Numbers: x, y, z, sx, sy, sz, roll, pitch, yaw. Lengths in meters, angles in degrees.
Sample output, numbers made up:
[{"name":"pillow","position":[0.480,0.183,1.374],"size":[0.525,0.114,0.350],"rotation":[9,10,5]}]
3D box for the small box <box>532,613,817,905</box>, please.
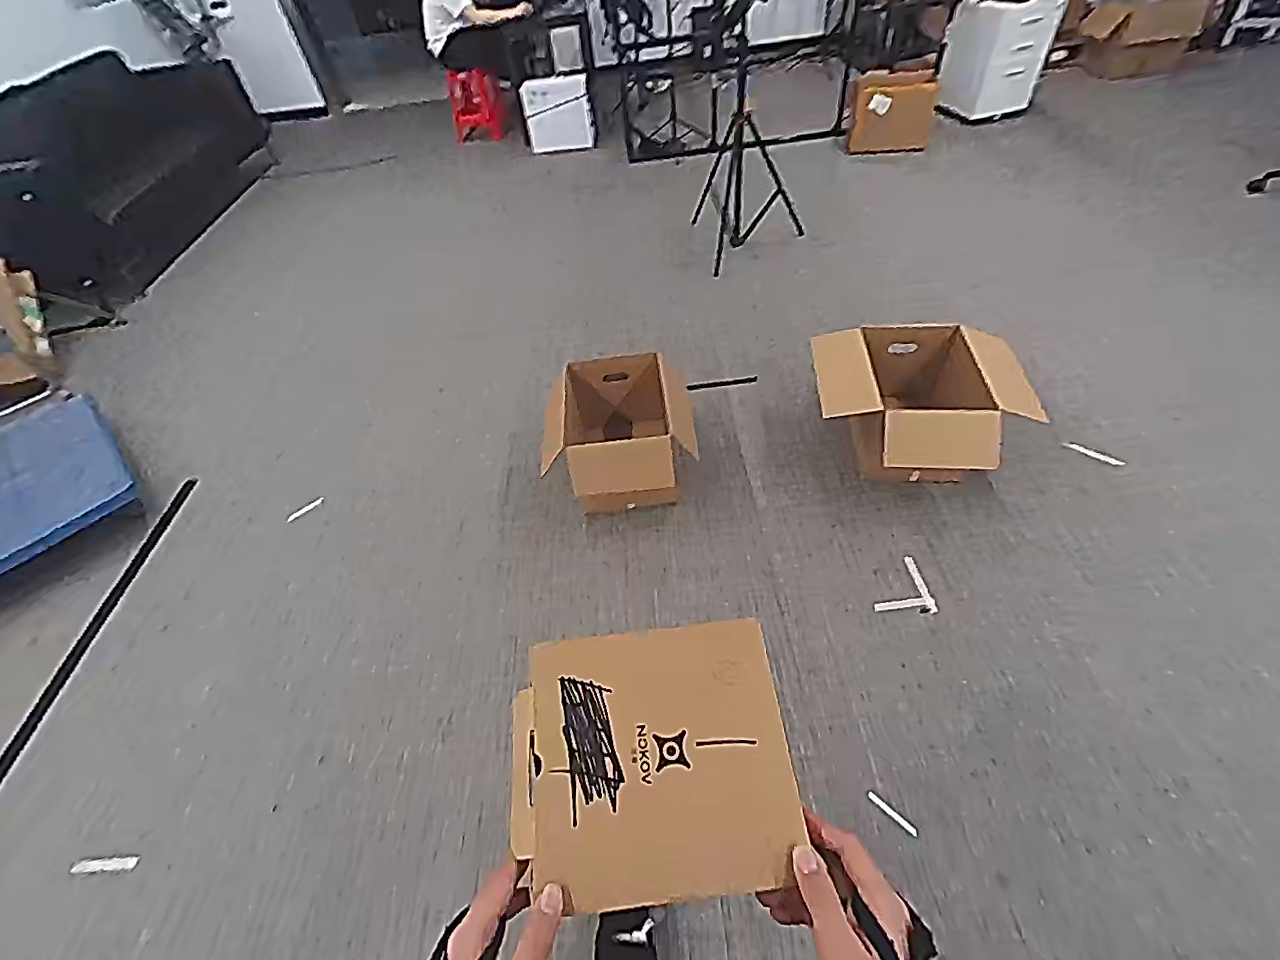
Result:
[{"name":"small box","position":[0.018,0.220,0.432],"size":[0.179,0.176,0.168],"rotation":[-6,59,-1]}]
